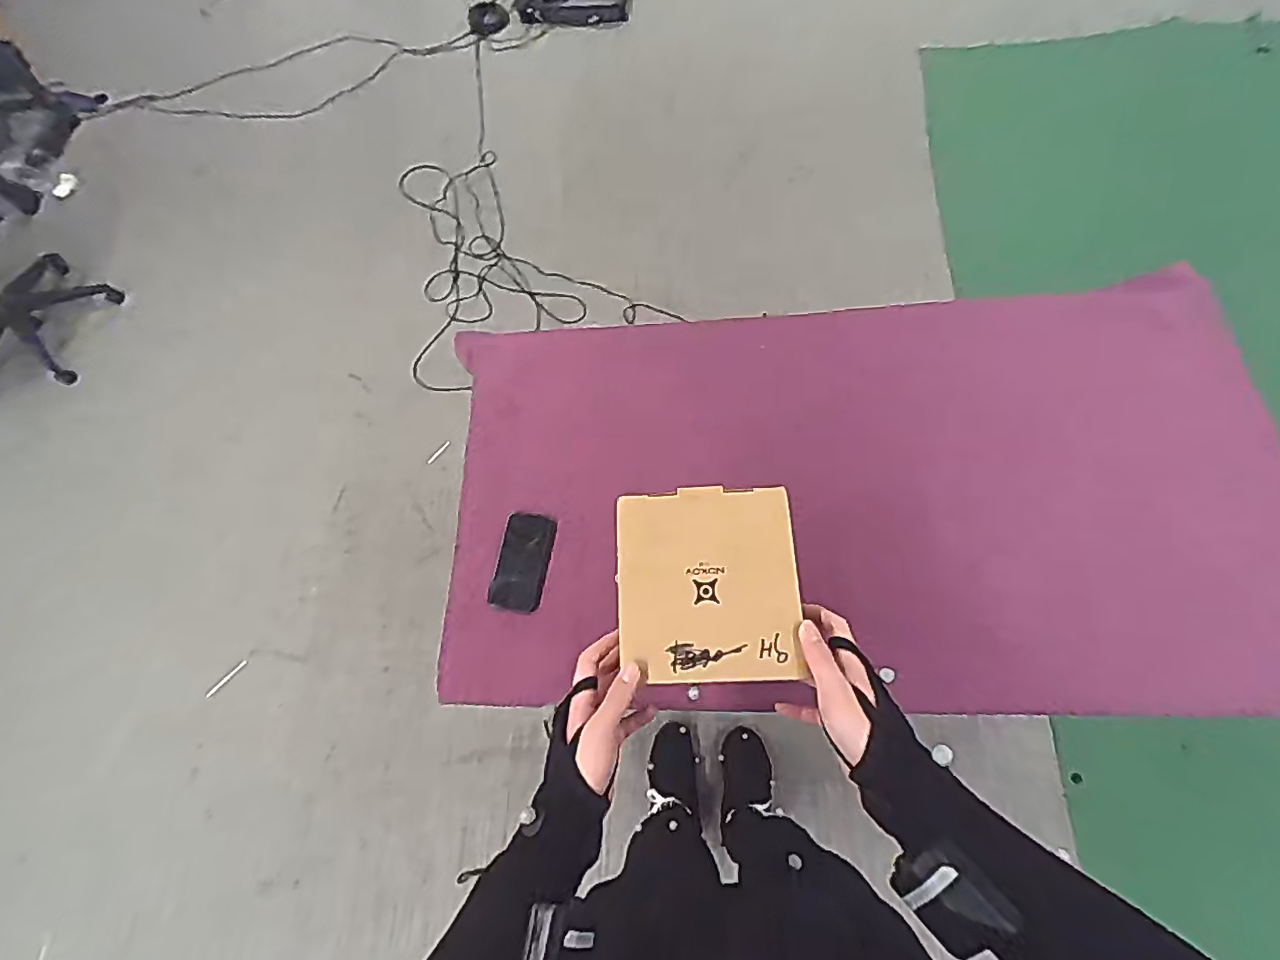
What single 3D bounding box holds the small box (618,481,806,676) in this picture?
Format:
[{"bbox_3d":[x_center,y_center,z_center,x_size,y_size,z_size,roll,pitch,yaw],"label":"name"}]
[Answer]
[{"bbox_3d":[0.069,0.112,0.570,0.168,0.176,0.179,-3,72,6],"label":"small box"}]
